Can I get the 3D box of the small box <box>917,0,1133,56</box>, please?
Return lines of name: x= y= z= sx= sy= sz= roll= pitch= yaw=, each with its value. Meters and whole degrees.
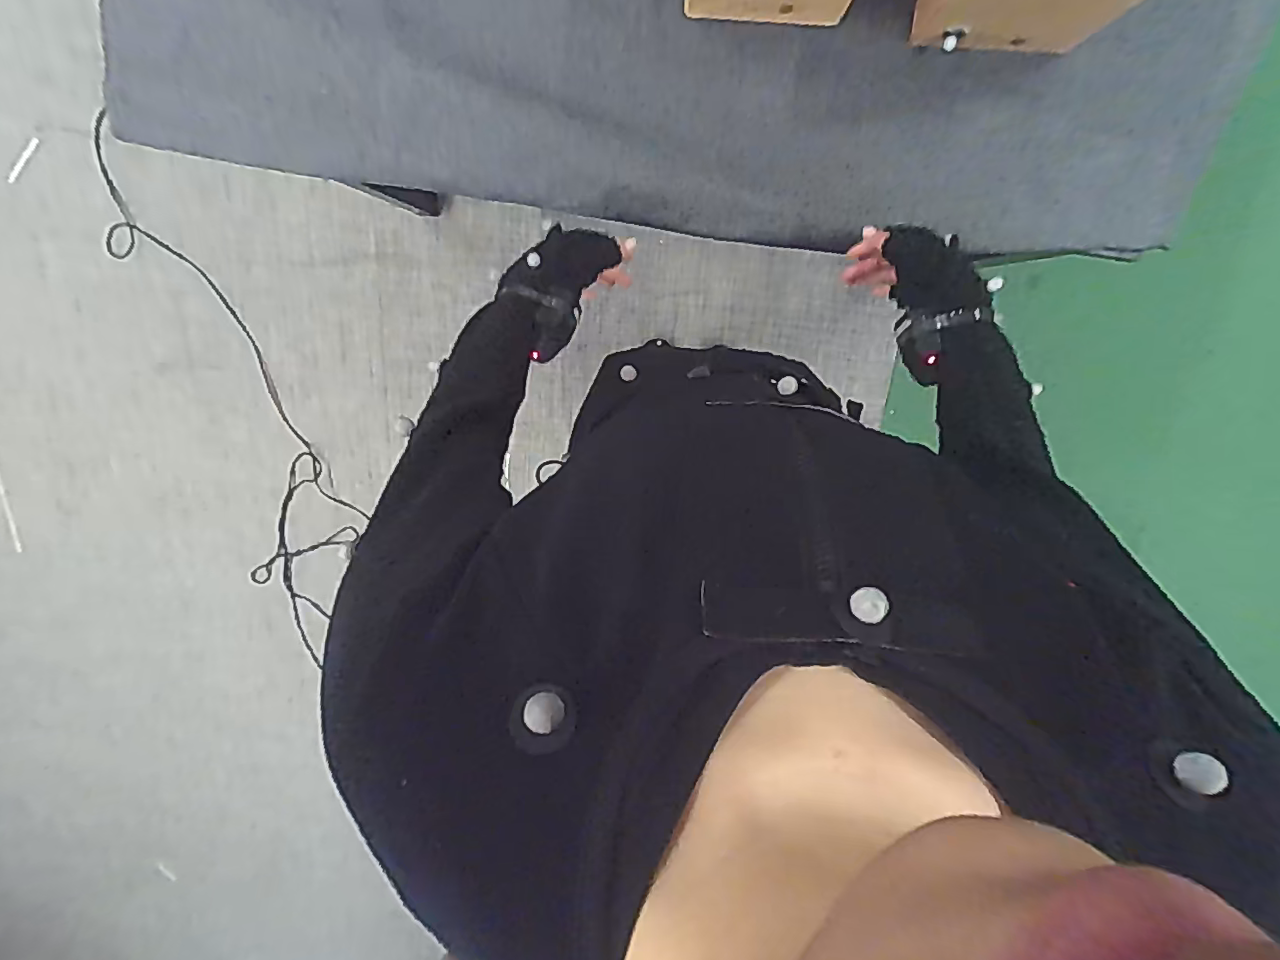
small box: x=0.371 y=-0.513 z=0.477 sx=0.168 sy=0.176 sz=0.179 roll=4 pitch=105 yaw=2
